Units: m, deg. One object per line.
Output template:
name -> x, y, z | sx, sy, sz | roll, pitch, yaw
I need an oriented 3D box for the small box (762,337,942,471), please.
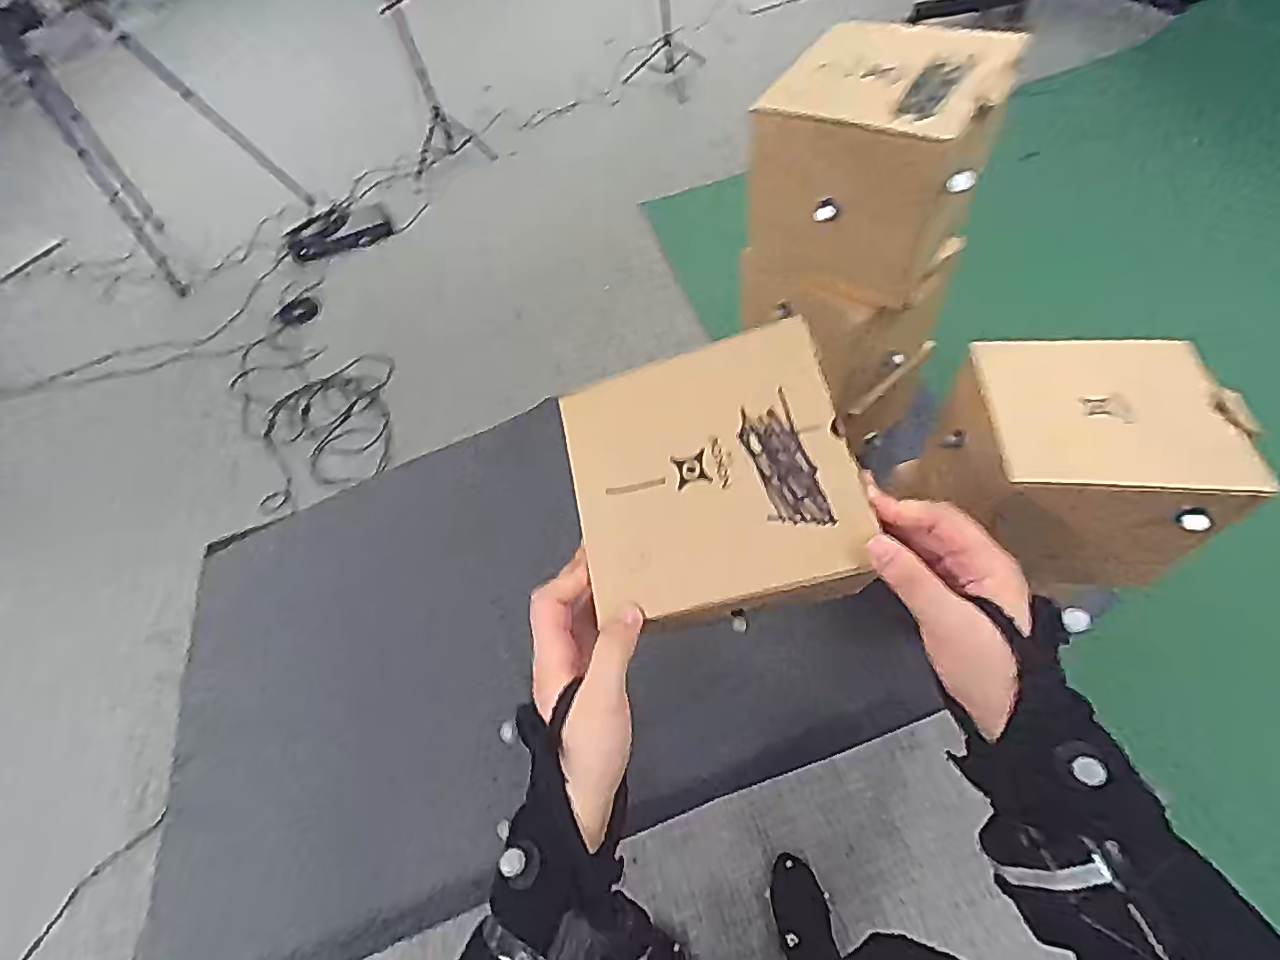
small box -> 0.297, -0.144, 0.805 | 0.168, 0.176, 0.179 | -41, 63, -12

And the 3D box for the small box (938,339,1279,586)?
small box -> 0.399, -0.012, 0.506 | 0.179, 0.176, 0.168 | 3, 56, 11

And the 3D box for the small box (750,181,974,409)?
small box -> 0.253, -0.220, 0.663 | 0.168, 0.176, 0.179 | -38, 59, -10

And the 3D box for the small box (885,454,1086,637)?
small box -> 0.416, 0.070, 0.648 | 0.179, 0.176, 0.168 | -16, 54, 0
